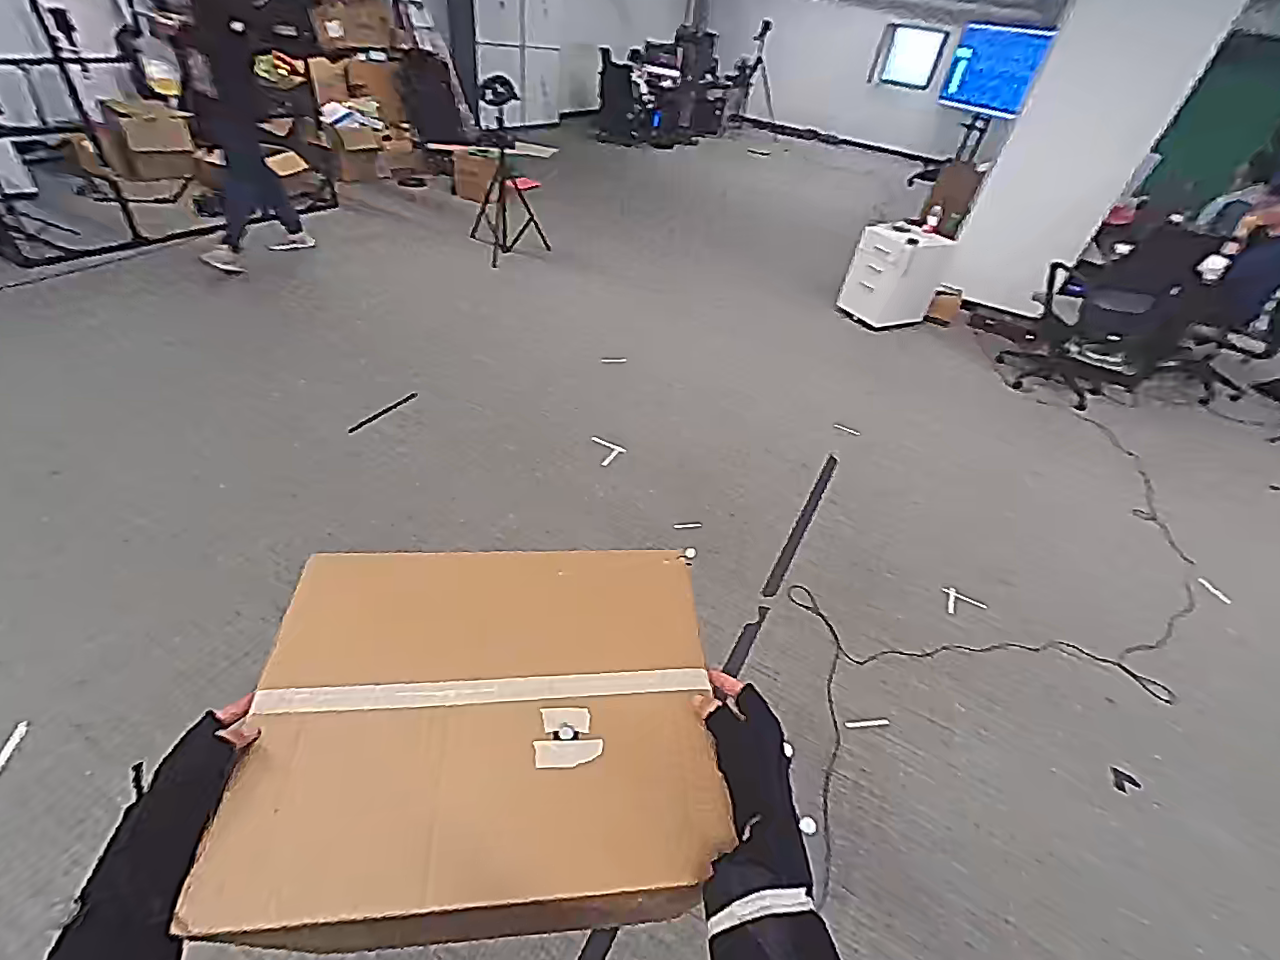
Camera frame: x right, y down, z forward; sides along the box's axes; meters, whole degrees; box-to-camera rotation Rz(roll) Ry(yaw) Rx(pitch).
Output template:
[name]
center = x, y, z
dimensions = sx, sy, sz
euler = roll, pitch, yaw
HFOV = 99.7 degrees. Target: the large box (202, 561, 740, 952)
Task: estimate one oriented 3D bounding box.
[large box]
center = -0.144, 0.306, 0.612
dimensions = 0.408, 0.320, 0.320
euler = 2, 48, -8
